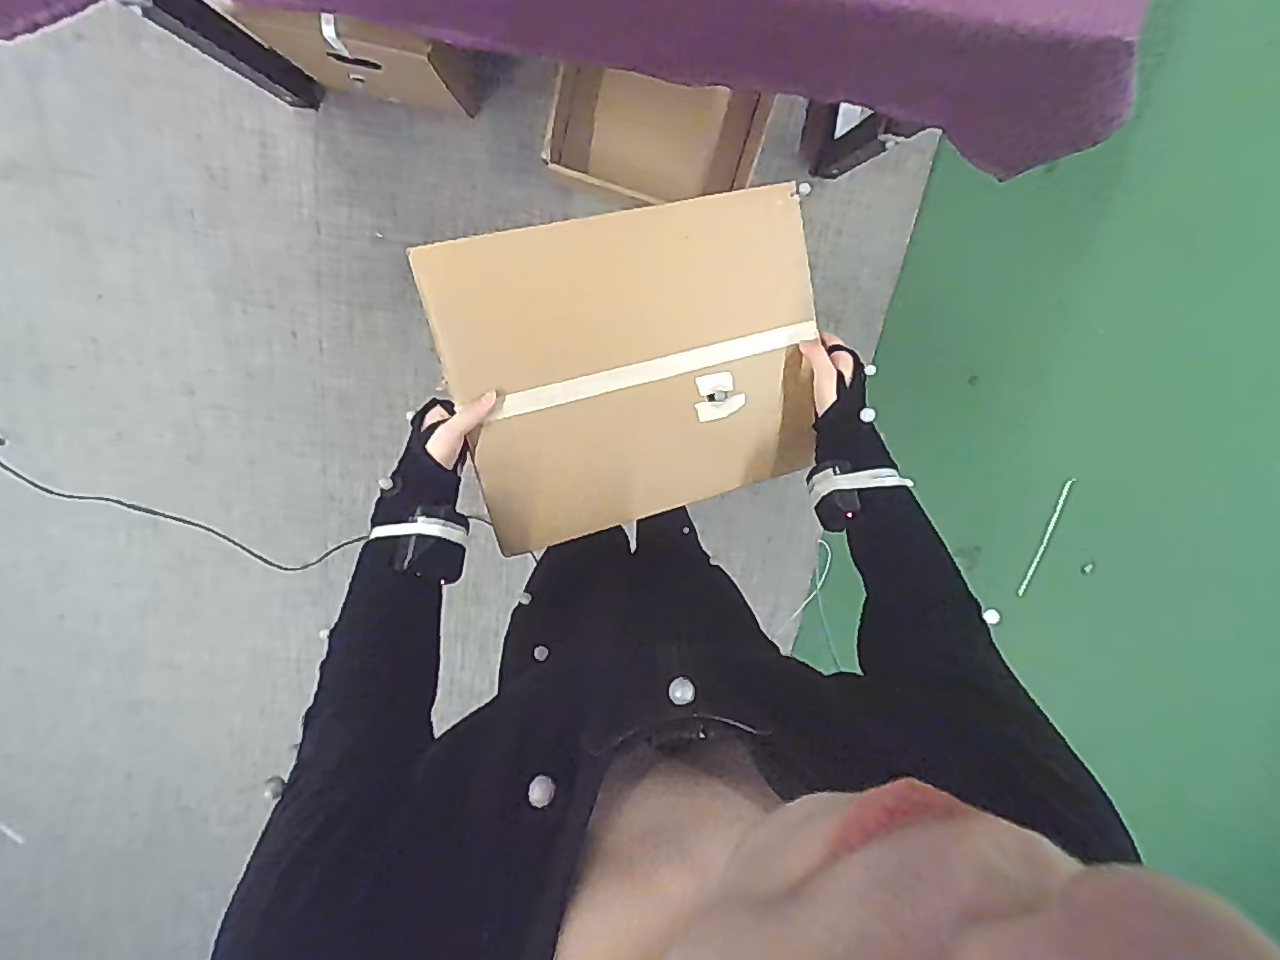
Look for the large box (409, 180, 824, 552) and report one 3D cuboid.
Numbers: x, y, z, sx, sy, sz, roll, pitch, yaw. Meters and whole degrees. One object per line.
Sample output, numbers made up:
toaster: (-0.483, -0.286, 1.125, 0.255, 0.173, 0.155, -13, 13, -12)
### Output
large box: (-0.038, -0.147, 0.716, 0.408, 0.320, 0.320, -17, 105, -13)
